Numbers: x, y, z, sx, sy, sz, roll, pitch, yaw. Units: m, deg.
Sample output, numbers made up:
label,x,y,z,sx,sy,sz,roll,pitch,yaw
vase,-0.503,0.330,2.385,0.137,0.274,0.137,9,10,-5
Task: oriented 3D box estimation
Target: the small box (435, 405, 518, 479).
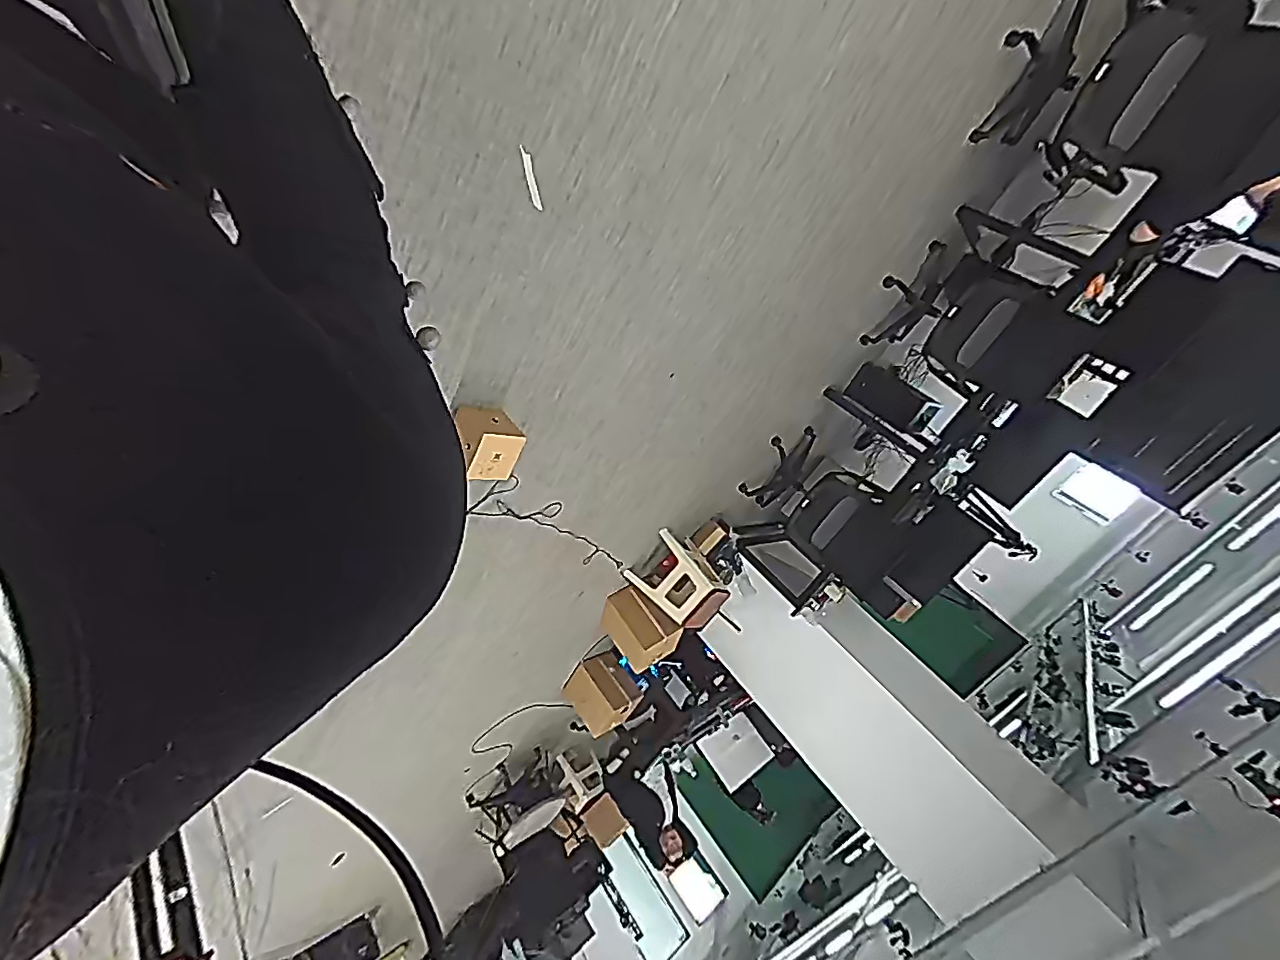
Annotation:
label,x,y,z,sx,sy,sz,roll,pitch,yaw
small box,-0.530,-0.121,1.731,0.168,0.176,0.179,3,125,-51
